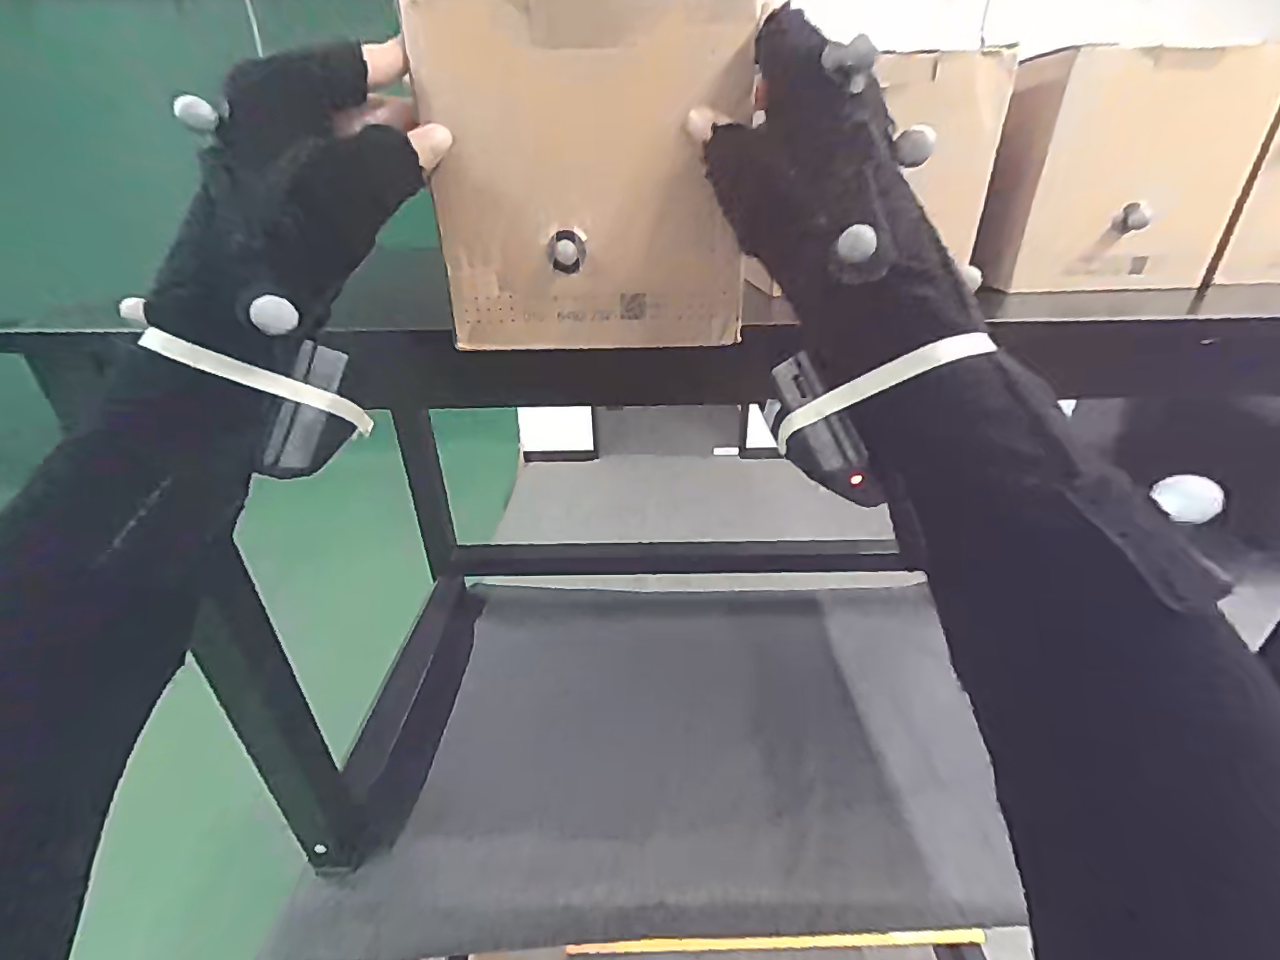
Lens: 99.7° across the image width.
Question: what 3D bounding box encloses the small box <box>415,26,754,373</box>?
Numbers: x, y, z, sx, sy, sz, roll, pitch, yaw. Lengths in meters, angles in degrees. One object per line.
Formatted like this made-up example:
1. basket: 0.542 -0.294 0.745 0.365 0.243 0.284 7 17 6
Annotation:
1. small box: -0.027 -0.178 0.365 0.168 0.176 0.179 -1 29 0
